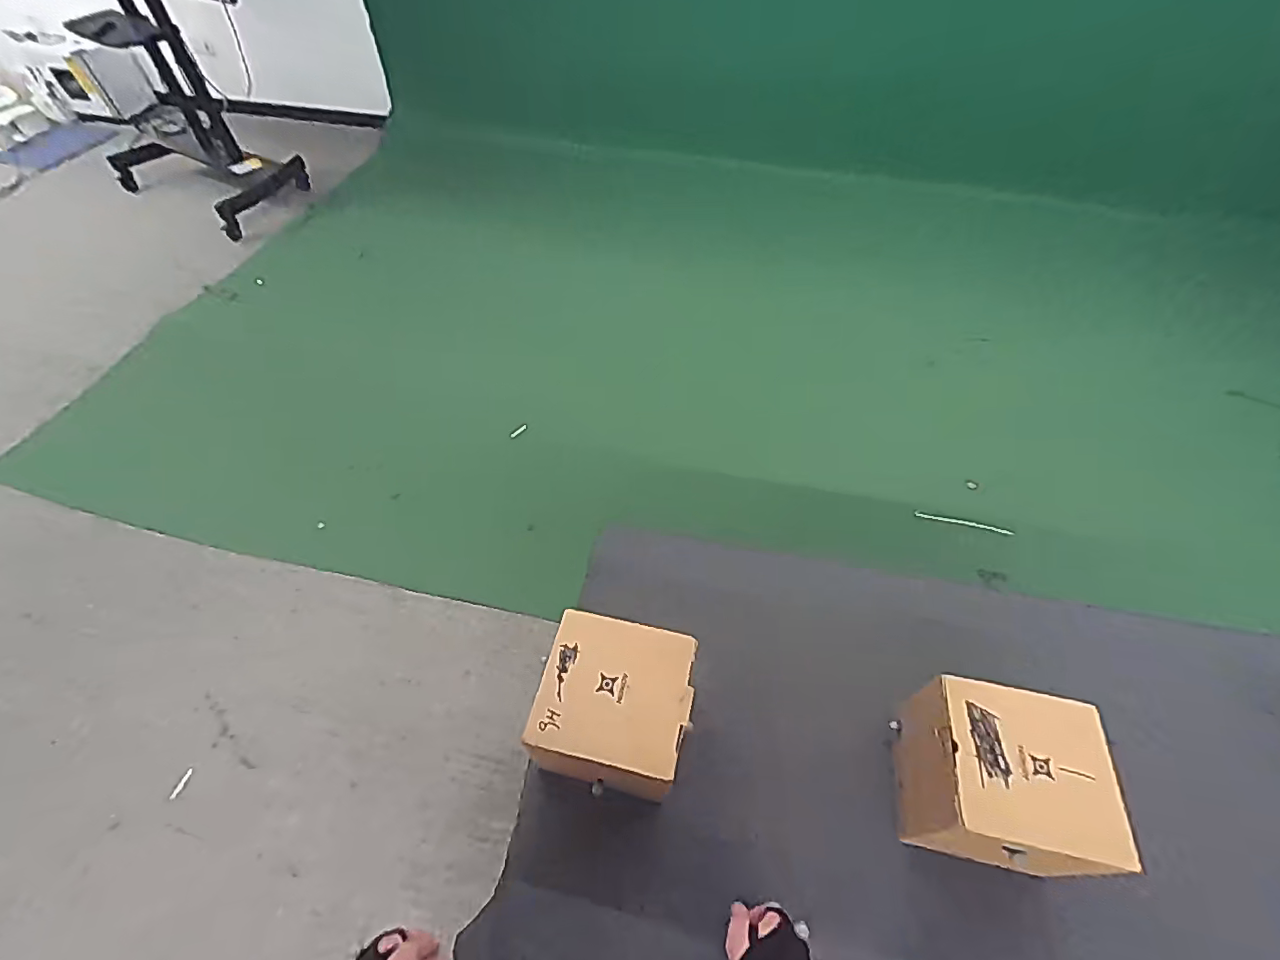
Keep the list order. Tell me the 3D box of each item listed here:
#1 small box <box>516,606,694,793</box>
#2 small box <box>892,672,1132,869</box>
[{"bbox_3d":[-0.038,0.289,0.699,0.179,0.176,0.168,12,54,7],"label":"small box"},{"bbox_3d":[0.422,0.357,0.658,0.179,0.176,0.168,12,55,6],"label":"small box"}]
